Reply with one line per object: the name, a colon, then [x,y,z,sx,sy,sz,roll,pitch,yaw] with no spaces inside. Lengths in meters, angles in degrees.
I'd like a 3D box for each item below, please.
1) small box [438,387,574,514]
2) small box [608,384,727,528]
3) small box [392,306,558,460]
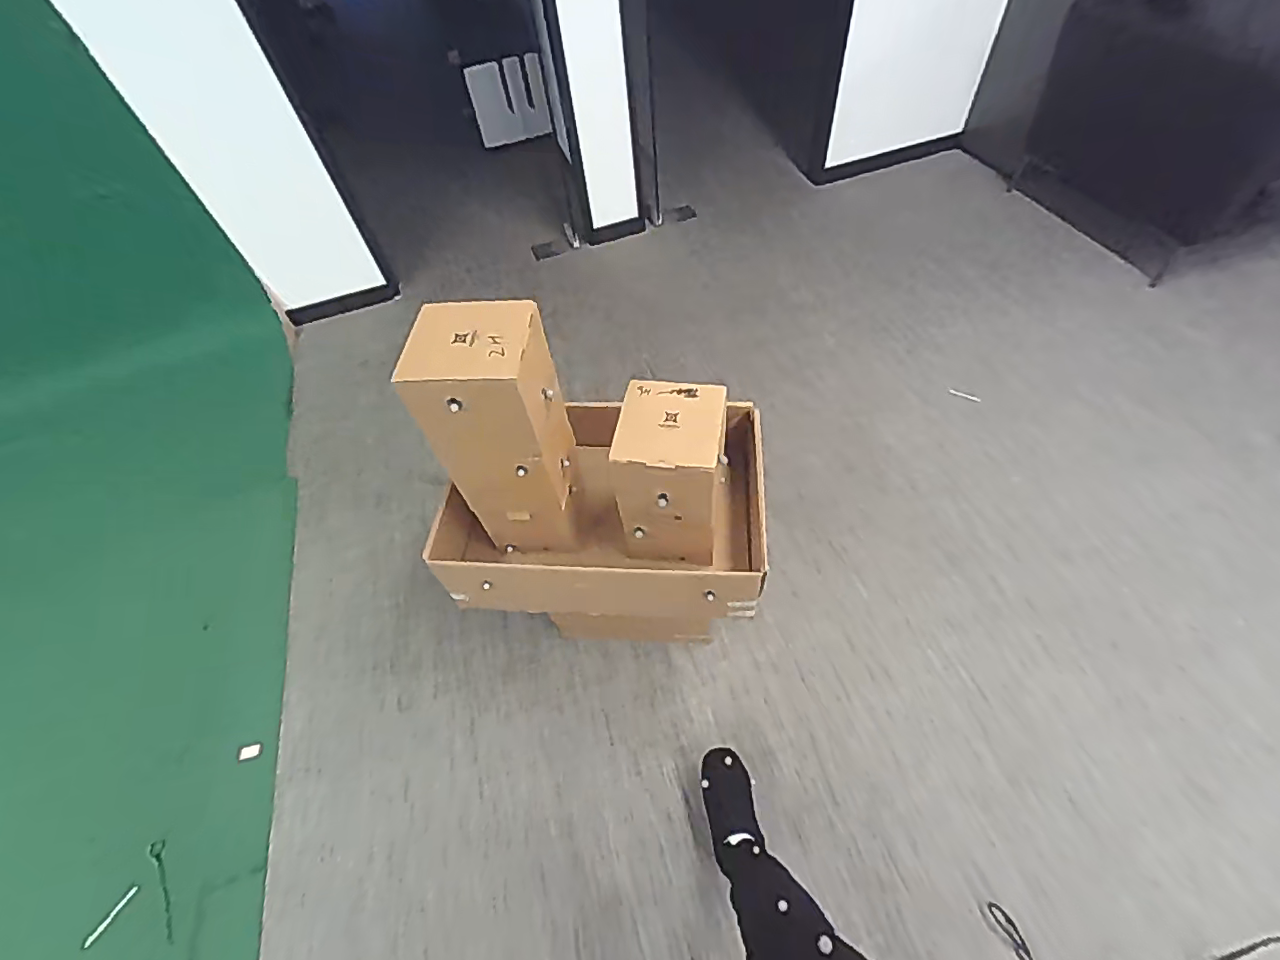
small box: [-0.225,-0.050,0.959,0.179,0.176,0.168,1,55,5]
small box: [0.054,-0.037,0.918,0.168,0.176,0.179,7,56,10]
small box: [-0.236,-0.143,0.823,0.179,0.176,0.168,0,55,5]
